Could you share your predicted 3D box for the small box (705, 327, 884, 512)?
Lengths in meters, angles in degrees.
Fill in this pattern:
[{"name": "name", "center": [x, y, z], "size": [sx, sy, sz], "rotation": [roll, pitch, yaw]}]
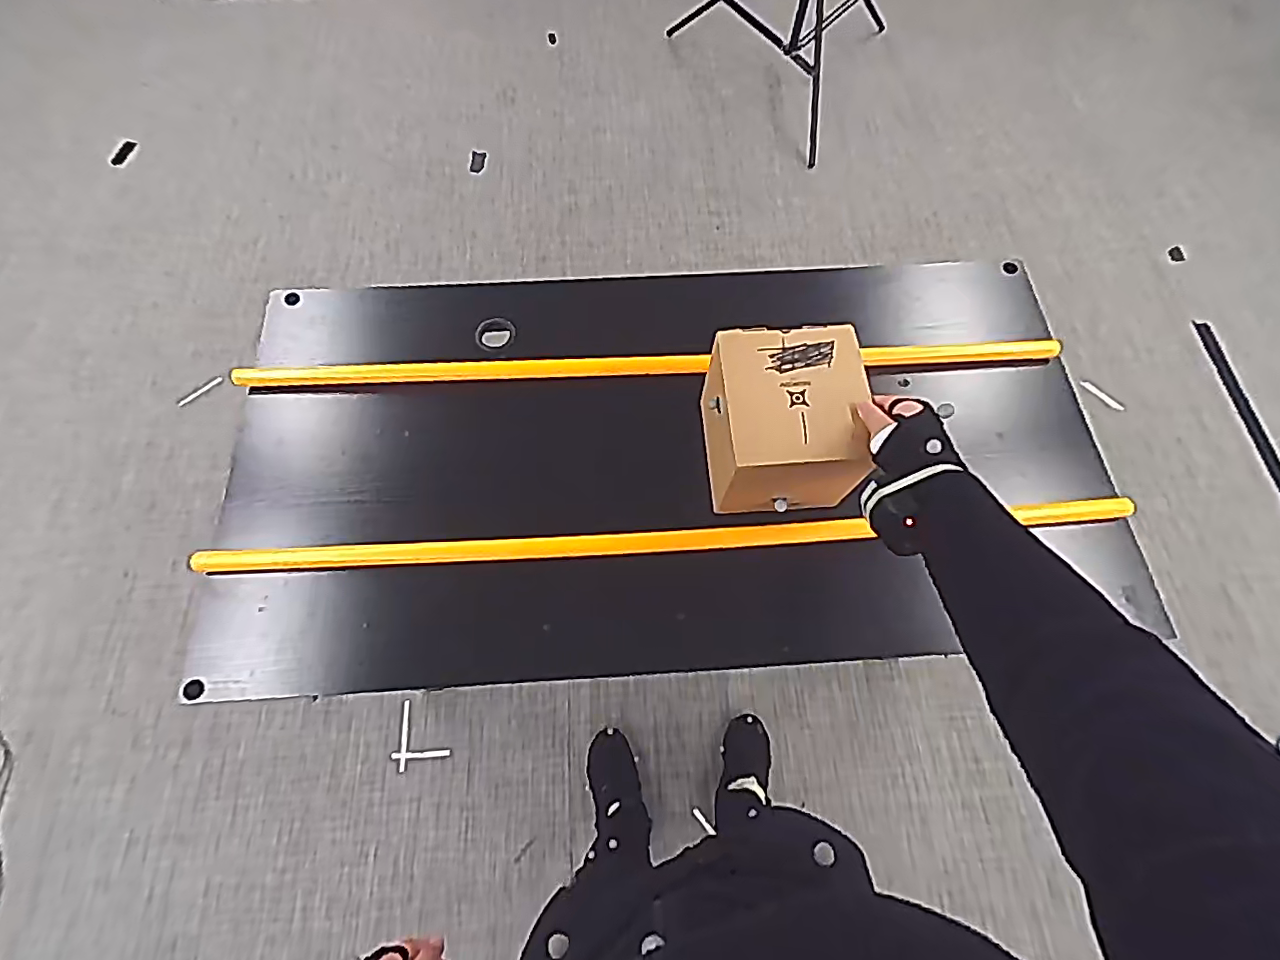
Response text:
[{"name": "small box", "center": [0.179, -0.070, 0.687], "size": [0.168, 0.176, 0.179], "rotation": [-3, 69, -1]}]
